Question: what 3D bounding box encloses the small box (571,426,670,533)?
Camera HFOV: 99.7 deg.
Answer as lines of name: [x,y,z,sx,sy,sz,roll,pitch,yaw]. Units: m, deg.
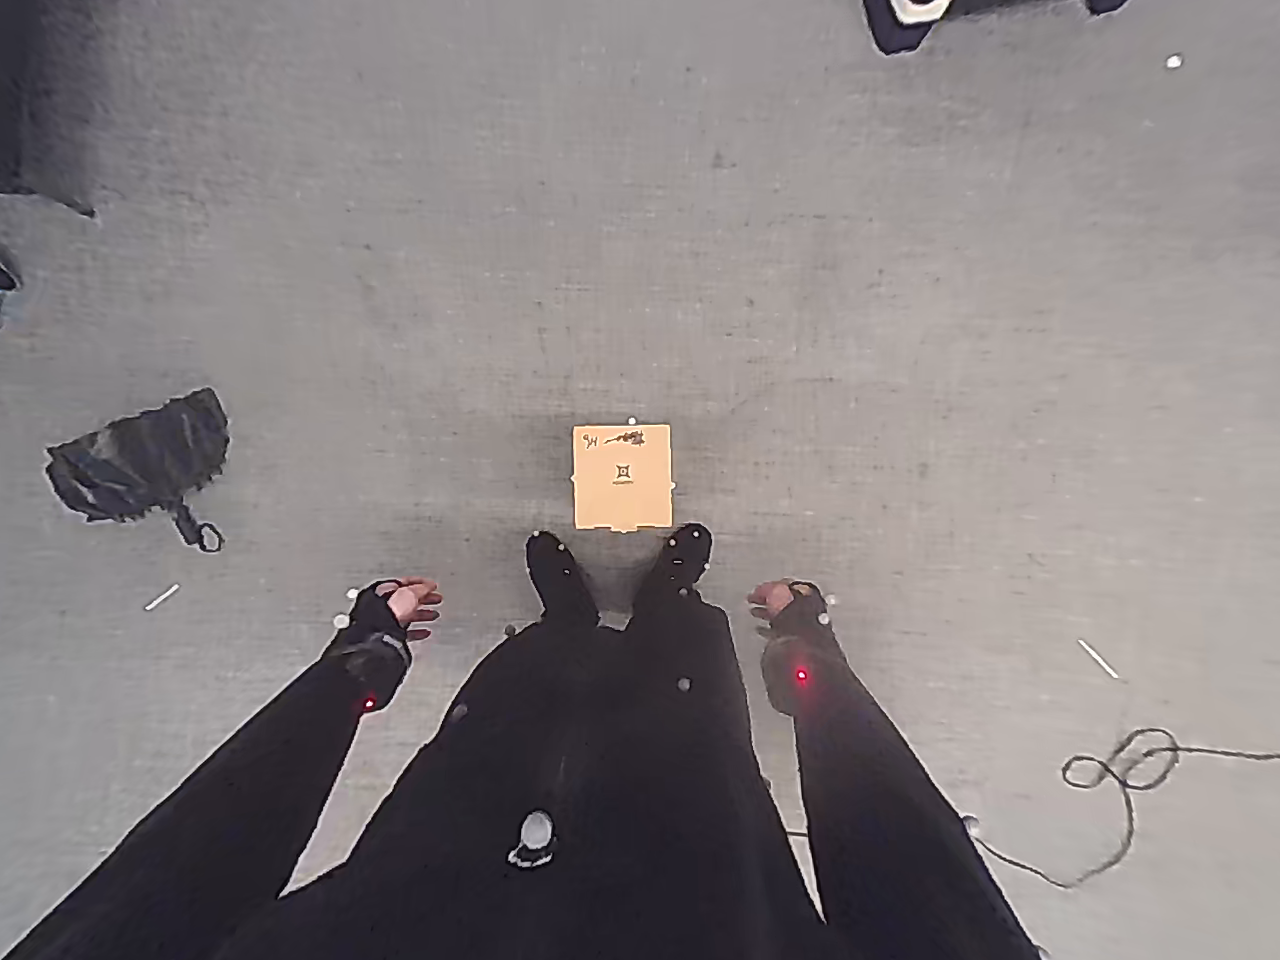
small box: [-0.033,-0.004,0.980,0.168,0.176,0.179,-2,91,-1]
